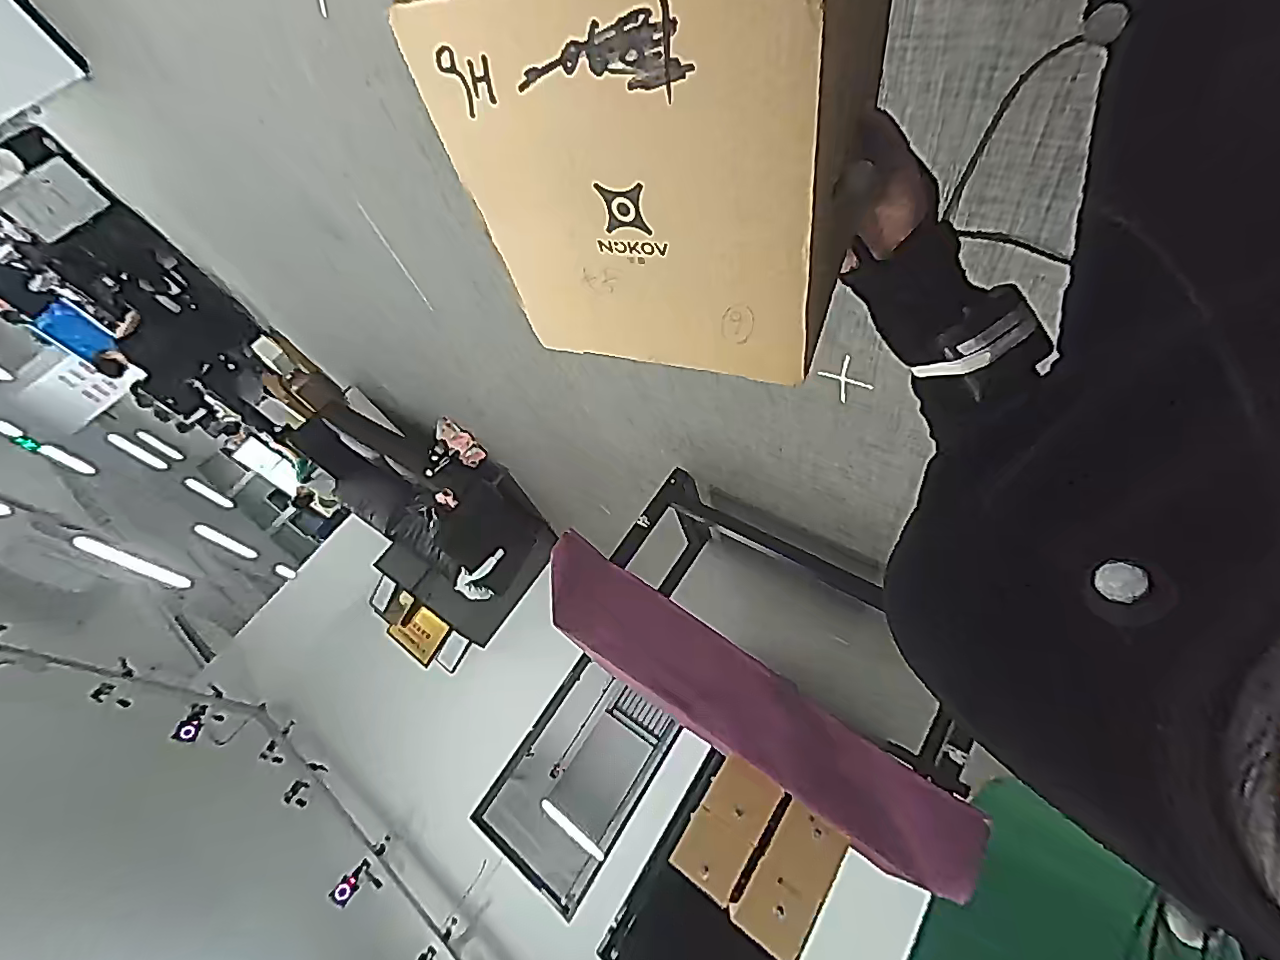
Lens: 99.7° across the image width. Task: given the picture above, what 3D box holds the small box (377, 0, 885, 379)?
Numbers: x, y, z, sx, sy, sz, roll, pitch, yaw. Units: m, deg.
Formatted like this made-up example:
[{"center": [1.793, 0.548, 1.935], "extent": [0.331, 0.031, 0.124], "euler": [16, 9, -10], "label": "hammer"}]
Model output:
[{"center": [0.021, -0.182, 0.272], "extent": [0.168, 0.176, 0.179], "euler": [14, 150, 20], "label": "small box"}]
